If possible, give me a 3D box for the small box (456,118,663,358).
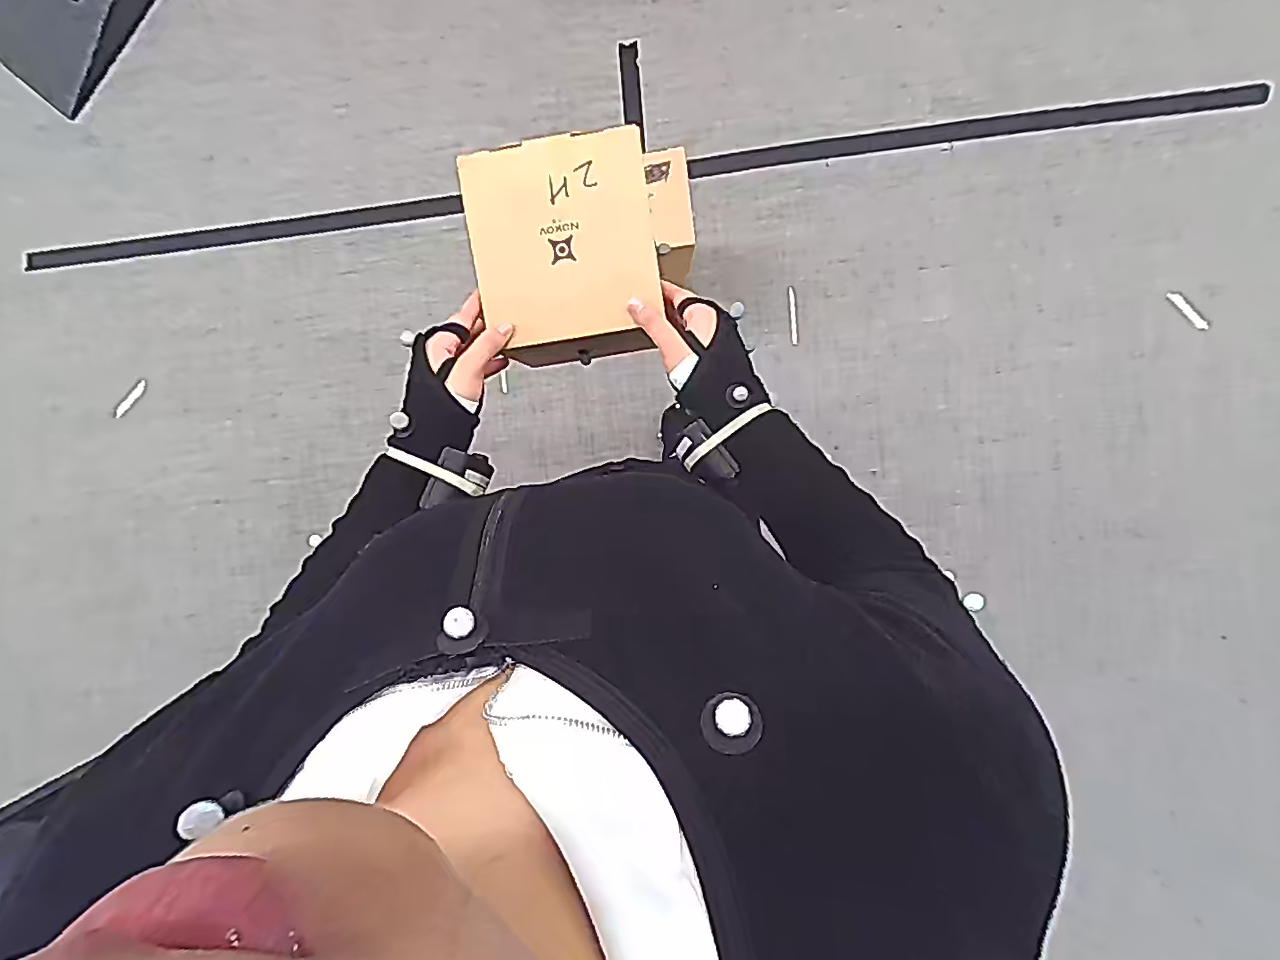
[{"bbox_3d":[-0.068,-0.228,0.563,0.168,0.176,0.179,-9,95,3],"label":"small box"}]

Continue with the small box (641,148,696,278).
[{"bbox_3d":[0.013,-0.504,1.053,0.168,0.176,0.179,-7,93,3],"label":"small box"}]

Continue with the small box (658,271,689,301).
[{"bbox_3d":[0.015,-0.513,1.218,0.168,0.176,0.179,-7,92,3],"label":"small box"}]
